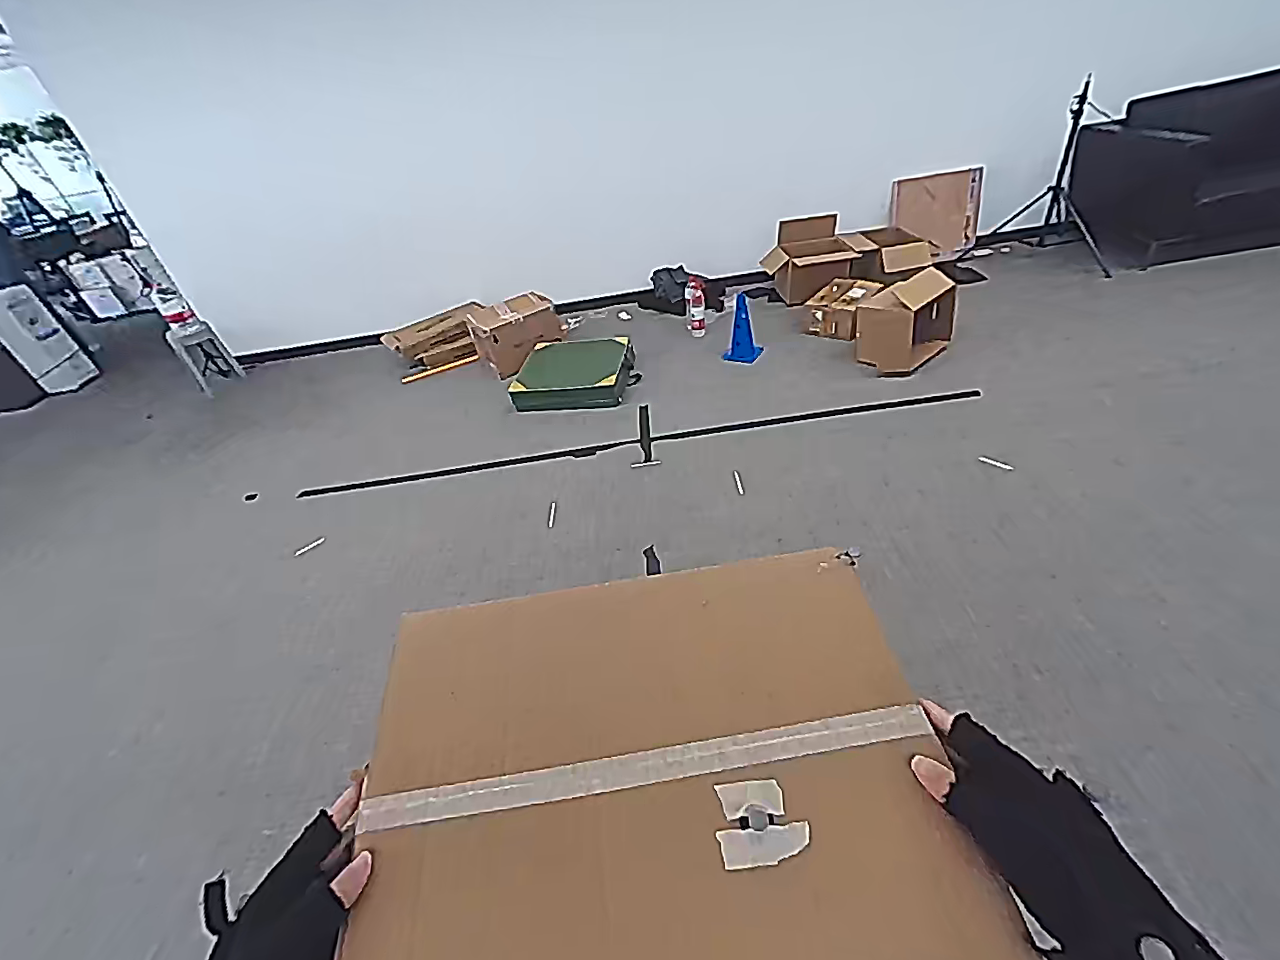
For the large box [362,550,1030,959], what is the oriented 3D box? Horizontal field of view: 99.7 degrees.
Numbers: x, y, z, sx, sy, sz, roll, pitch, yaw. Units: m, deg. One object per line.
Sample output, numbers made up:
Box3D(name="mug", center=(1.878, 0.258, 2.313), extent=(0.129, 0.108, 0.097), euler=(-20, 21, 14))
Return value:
Box3D(name="large box", center=(0.020, 0.306, 0.509), extent=(0.408, 0.320, 0.320), euler=(-8, 48, -2))
